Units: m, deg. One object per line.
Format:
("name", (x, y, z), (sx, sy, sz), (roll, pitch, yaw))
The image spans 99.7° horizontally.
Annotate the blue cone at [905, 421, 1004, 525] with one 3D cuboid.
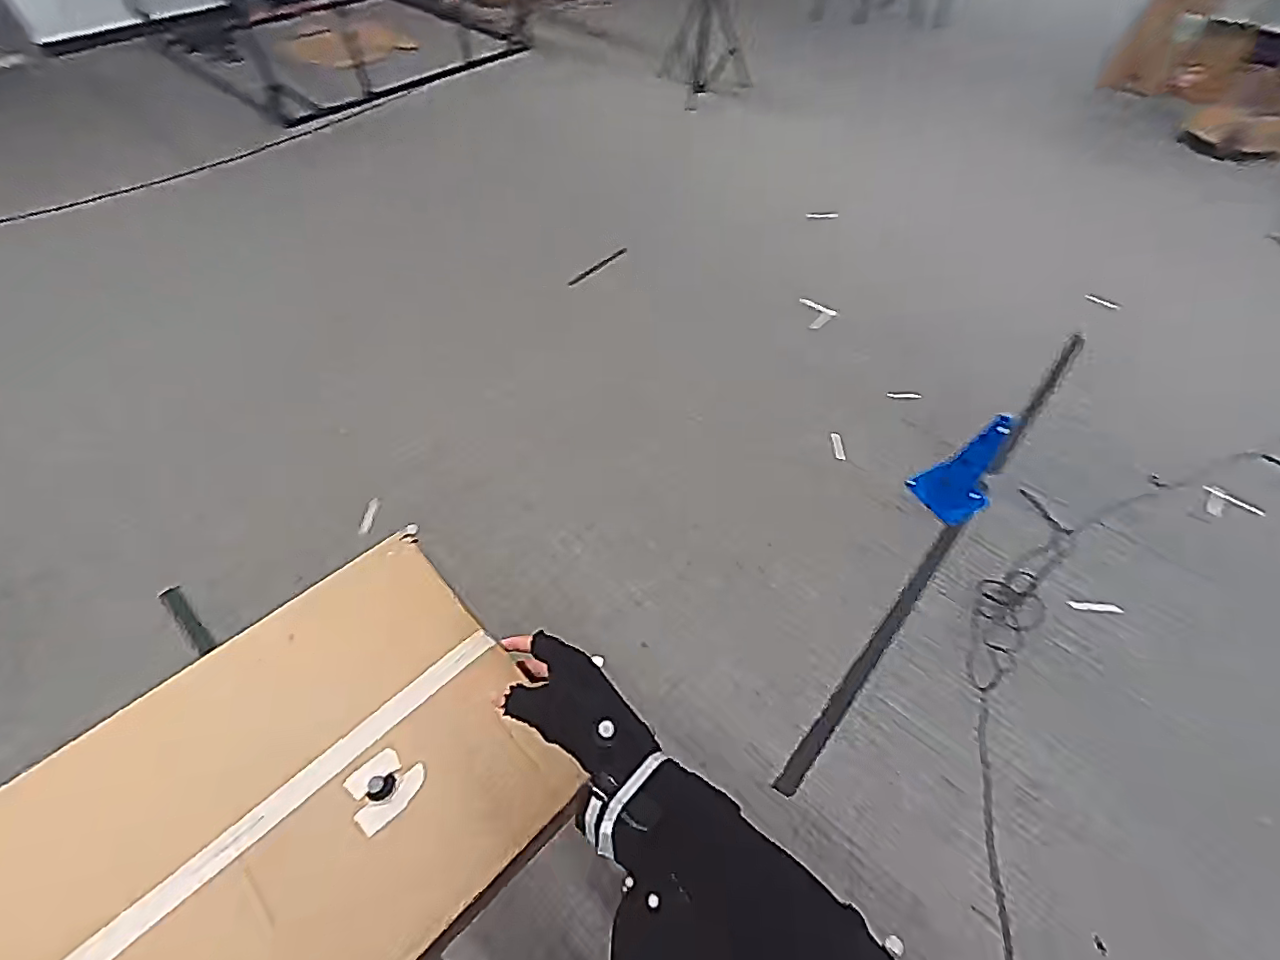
("blue cone", (1.010, -0.048, 1.664), (0.192, 0.380, 0.193), (-23, 56, -16))
